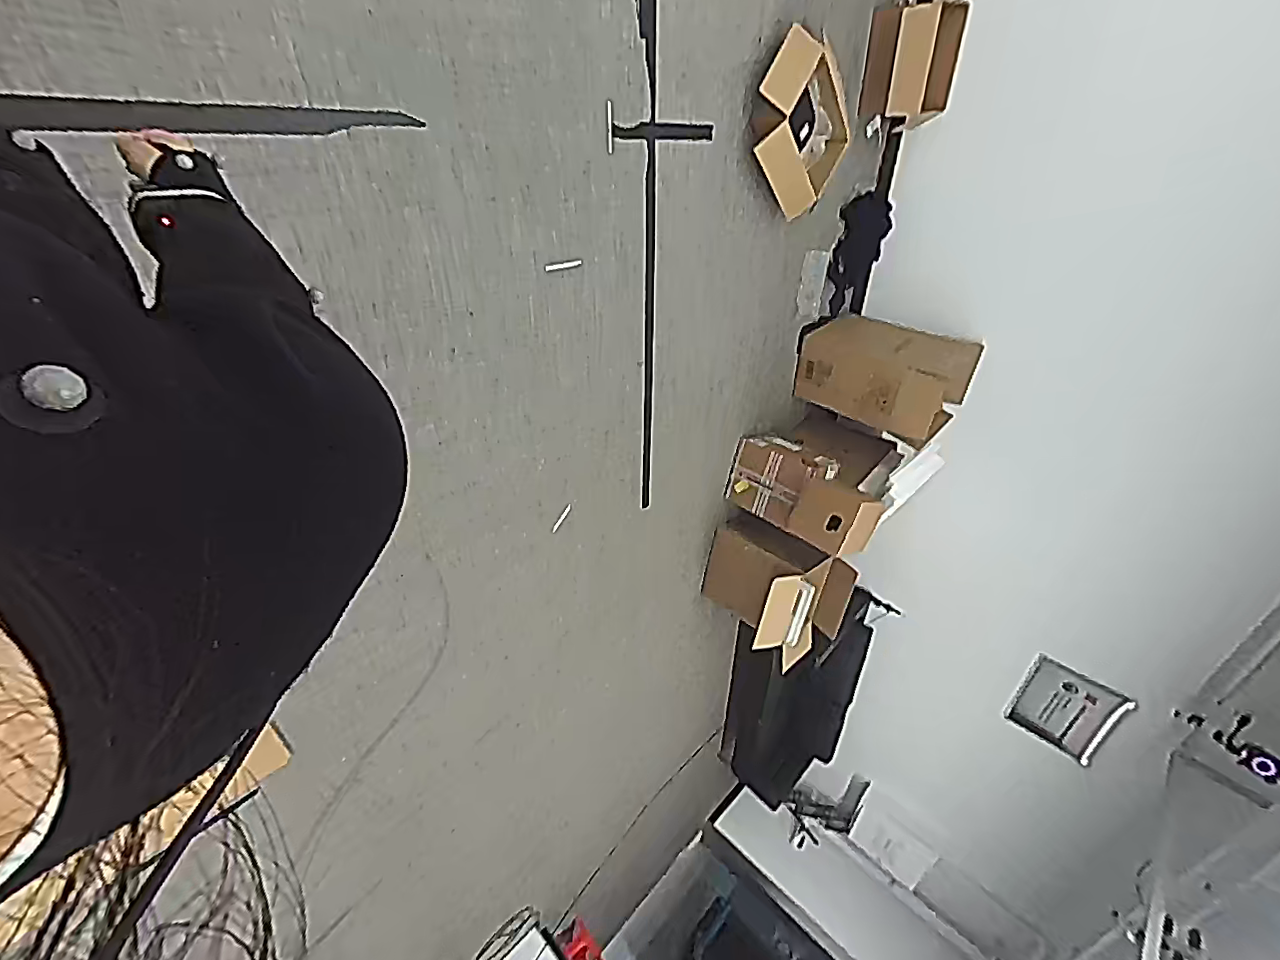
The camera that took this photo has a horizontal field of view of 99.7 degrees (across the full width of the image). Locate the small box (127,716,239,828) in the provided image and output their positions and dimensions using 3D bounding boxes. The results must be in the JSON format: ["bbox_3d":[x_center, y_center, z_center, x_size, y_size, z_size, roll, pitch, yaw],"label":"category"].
[{"bbox_3d":[-1.219,0.765,1.441,0.168,0.176,0.179,-29,134,-35],"label":"small box"}]
